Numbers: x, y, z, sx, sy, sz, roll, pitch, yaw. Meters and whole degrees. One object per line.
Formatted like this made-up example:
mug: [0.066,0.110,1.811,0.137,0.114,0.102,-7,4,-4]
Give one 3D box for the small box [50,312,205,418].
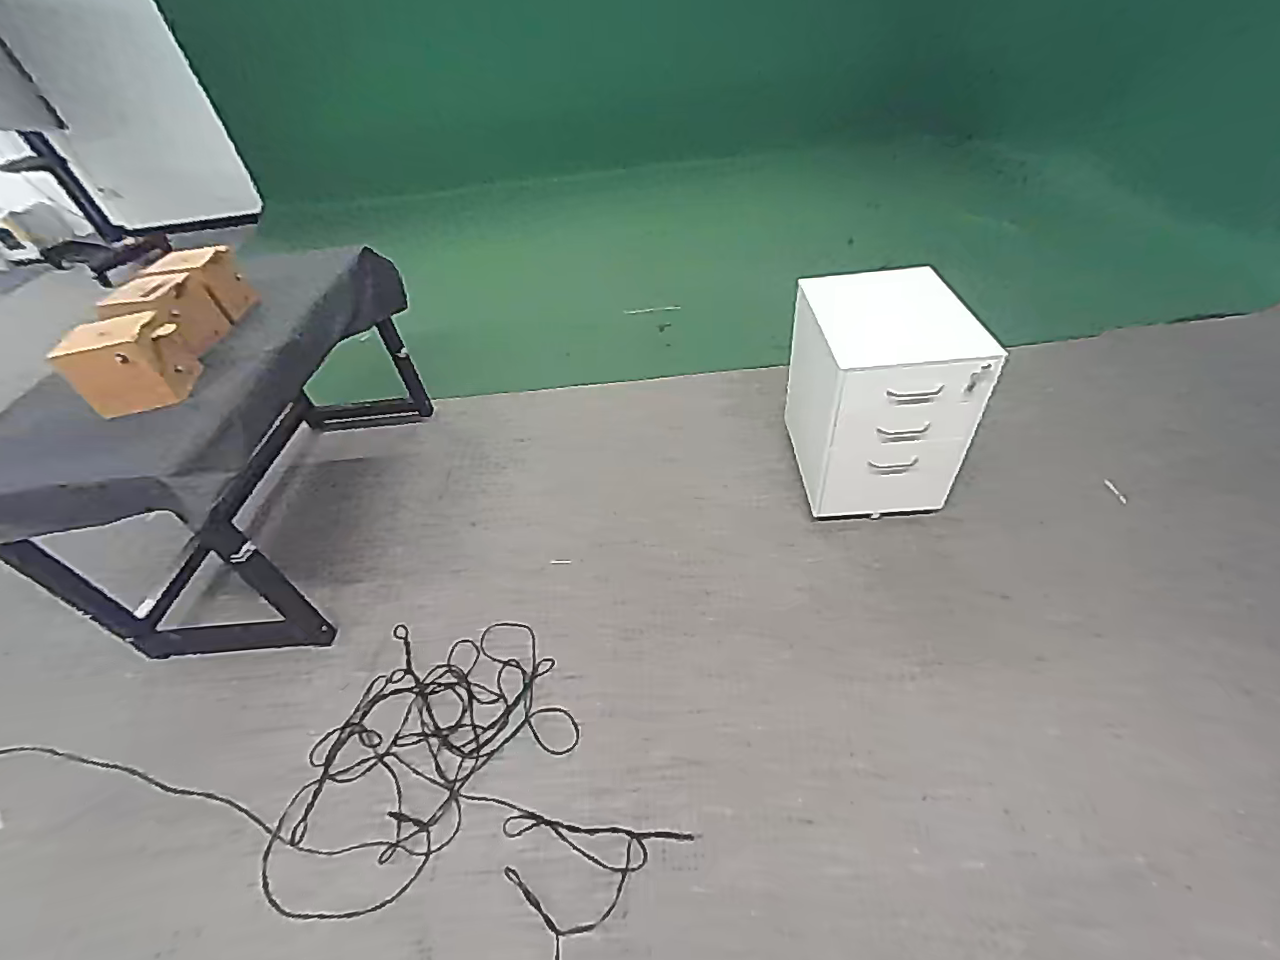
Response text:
small box: [-1.195,-0.269,1.278,0.179,0.176,0.168,-15,44,-8]
